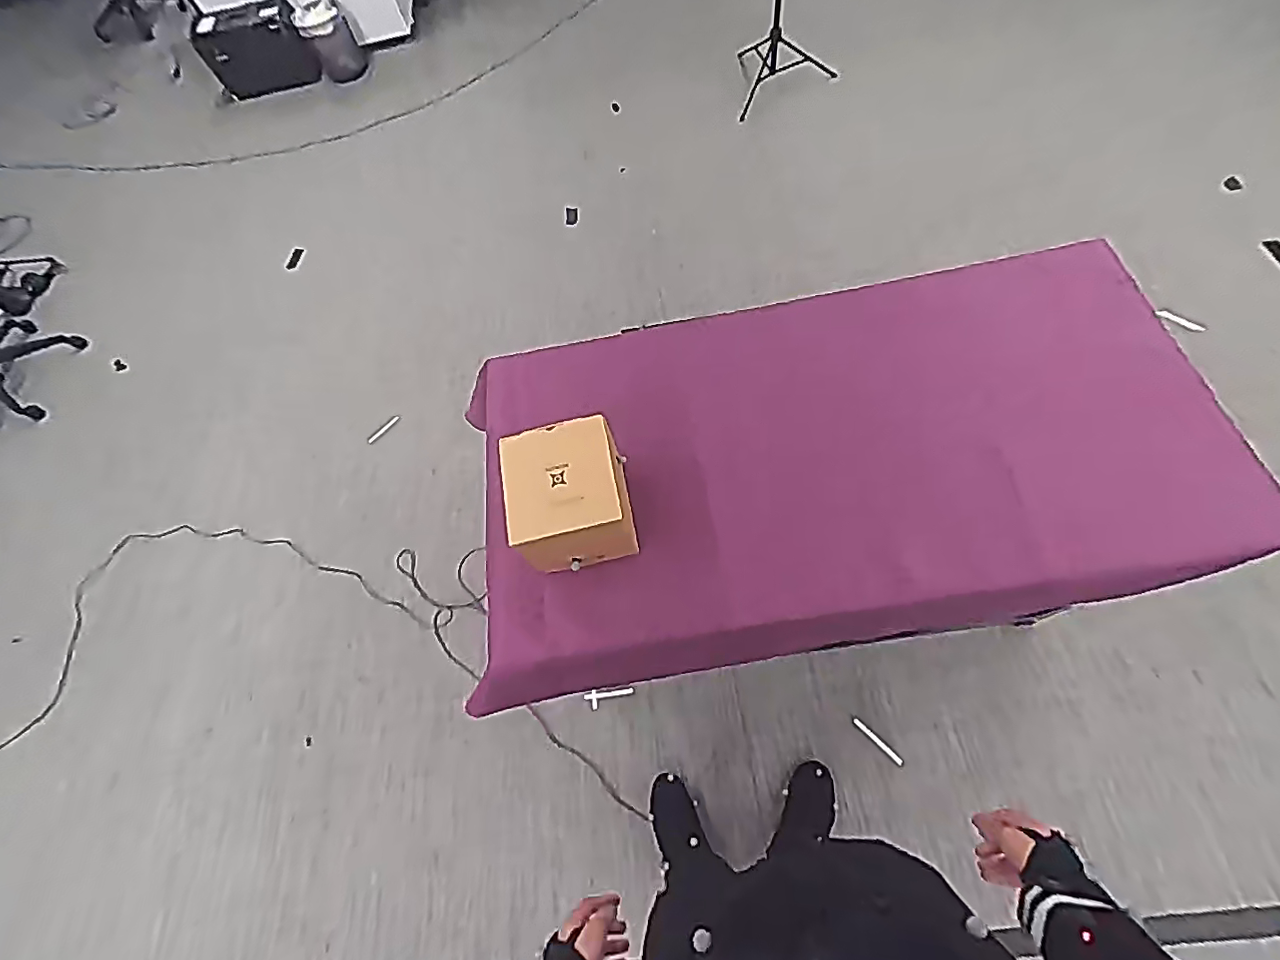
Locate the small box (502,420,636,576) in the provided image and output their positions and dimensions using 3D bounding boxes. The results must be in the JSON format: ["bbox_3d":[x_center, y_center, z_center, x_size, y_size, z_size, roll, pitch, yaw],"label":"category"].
[{"bbox_3d":[-0.108,0.034,0.861,0.168,0.176,0.179,-14,64,3],"label":"small box"}]
